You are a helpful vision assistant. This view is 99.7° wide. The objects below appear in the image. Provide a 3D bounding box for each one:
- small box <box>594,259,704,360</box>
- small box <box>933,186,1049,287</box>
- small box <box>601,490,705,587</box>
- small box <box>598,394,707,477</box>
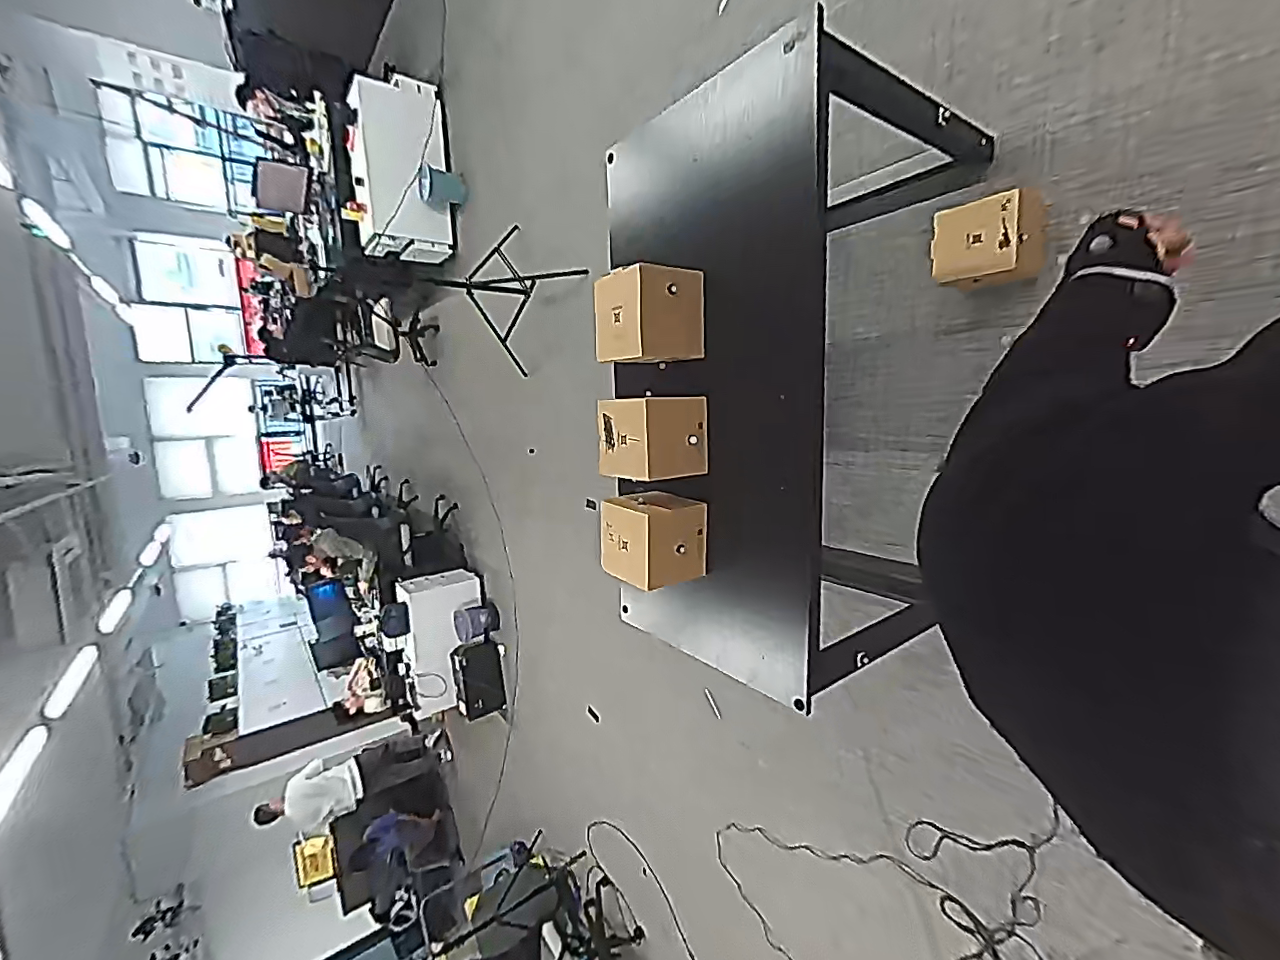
[{"bbox_3d":[0.020,-0.347,1.134,0.168,0.176,0.179,10,105,54],"label":"small box"},{"bbox_3d":[0.811,-0.552,1.254,0.179,0.176,0.168,8,104,53],"label":"small box"},{"bbox_3d":[0.028,0.120,1.205,0.179,0.176,0.168,14,107,52],"label":"small box"},{"bbox_3d":[0.026,-0.102,1.169,0.179,0.176,0.168,9,103,52],"label":"small box"}]
